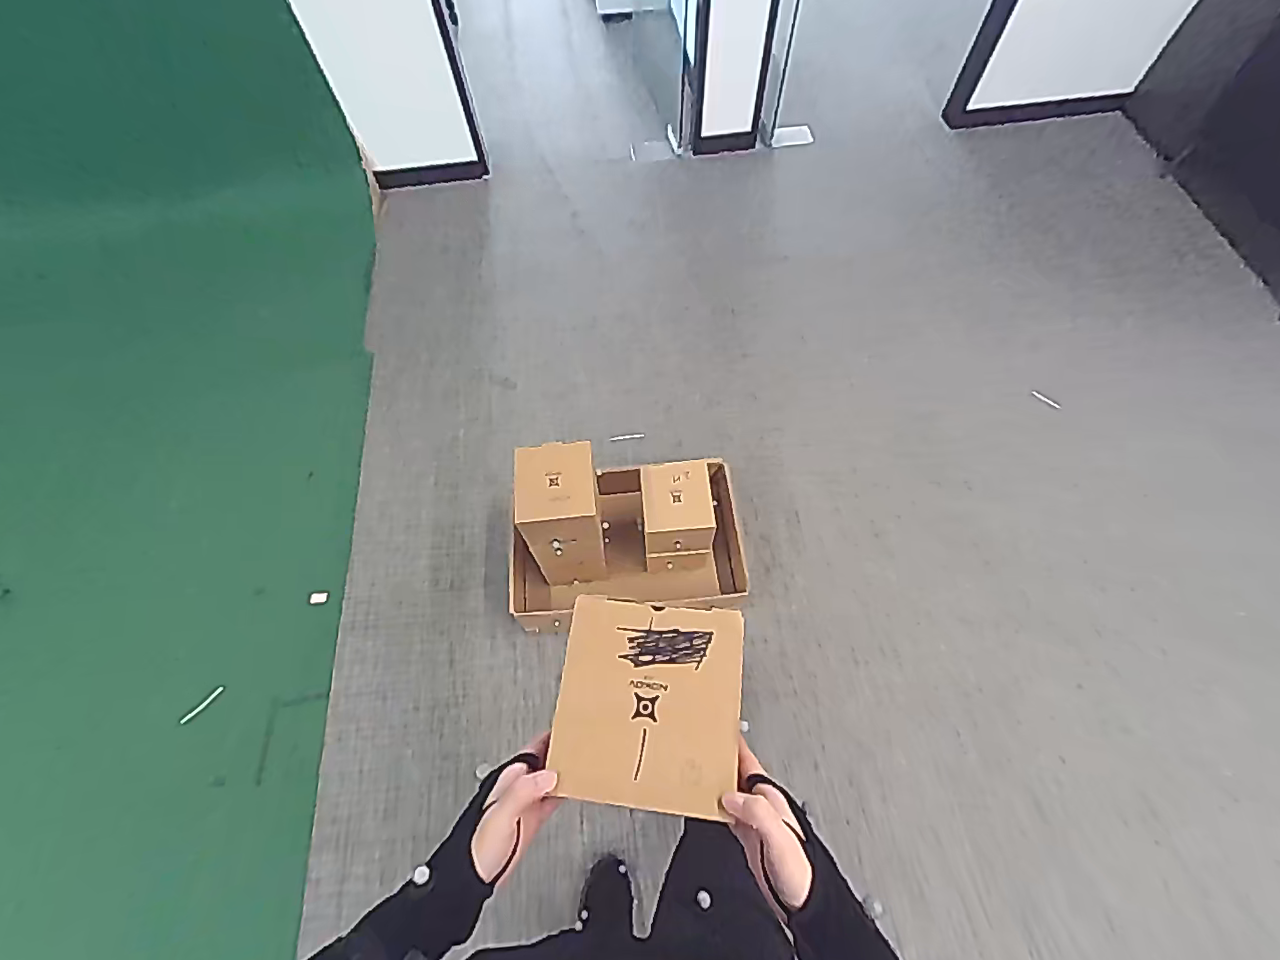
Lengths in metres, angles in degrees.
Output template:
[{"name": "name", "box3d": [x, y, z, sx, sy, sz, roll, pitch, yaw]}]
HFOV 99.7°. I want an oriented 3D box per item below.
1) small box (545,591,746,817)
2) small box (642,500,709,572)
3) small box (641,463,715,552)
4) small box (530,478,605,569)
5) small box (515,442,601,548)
[{"name": "small box", "box3d": [0.014, 0.232, 0.563, 0.168, 0.176, 0.179, 5, 62, 7]}, {"name": "small box", "box3d": [0.097, 0.151, 1.498, 0.168, 0.176, 0.179, -5, 64, 0]}, {"name": "small box", "box3d": [0.093, 0.076, 1.350, 0.168, 0.176, 0.179, -4, 63, 0]}, {"name": "small box", "box3d": [-0.177, 0.108, 1.340, 0.168, 0.176, 0.179, -6, 64, -2]}, {"name": "small box", "box3d": [-0.177, 0.037, 1.193, 0.168, 0.176, 0.179, -5, 65, -2]}]
